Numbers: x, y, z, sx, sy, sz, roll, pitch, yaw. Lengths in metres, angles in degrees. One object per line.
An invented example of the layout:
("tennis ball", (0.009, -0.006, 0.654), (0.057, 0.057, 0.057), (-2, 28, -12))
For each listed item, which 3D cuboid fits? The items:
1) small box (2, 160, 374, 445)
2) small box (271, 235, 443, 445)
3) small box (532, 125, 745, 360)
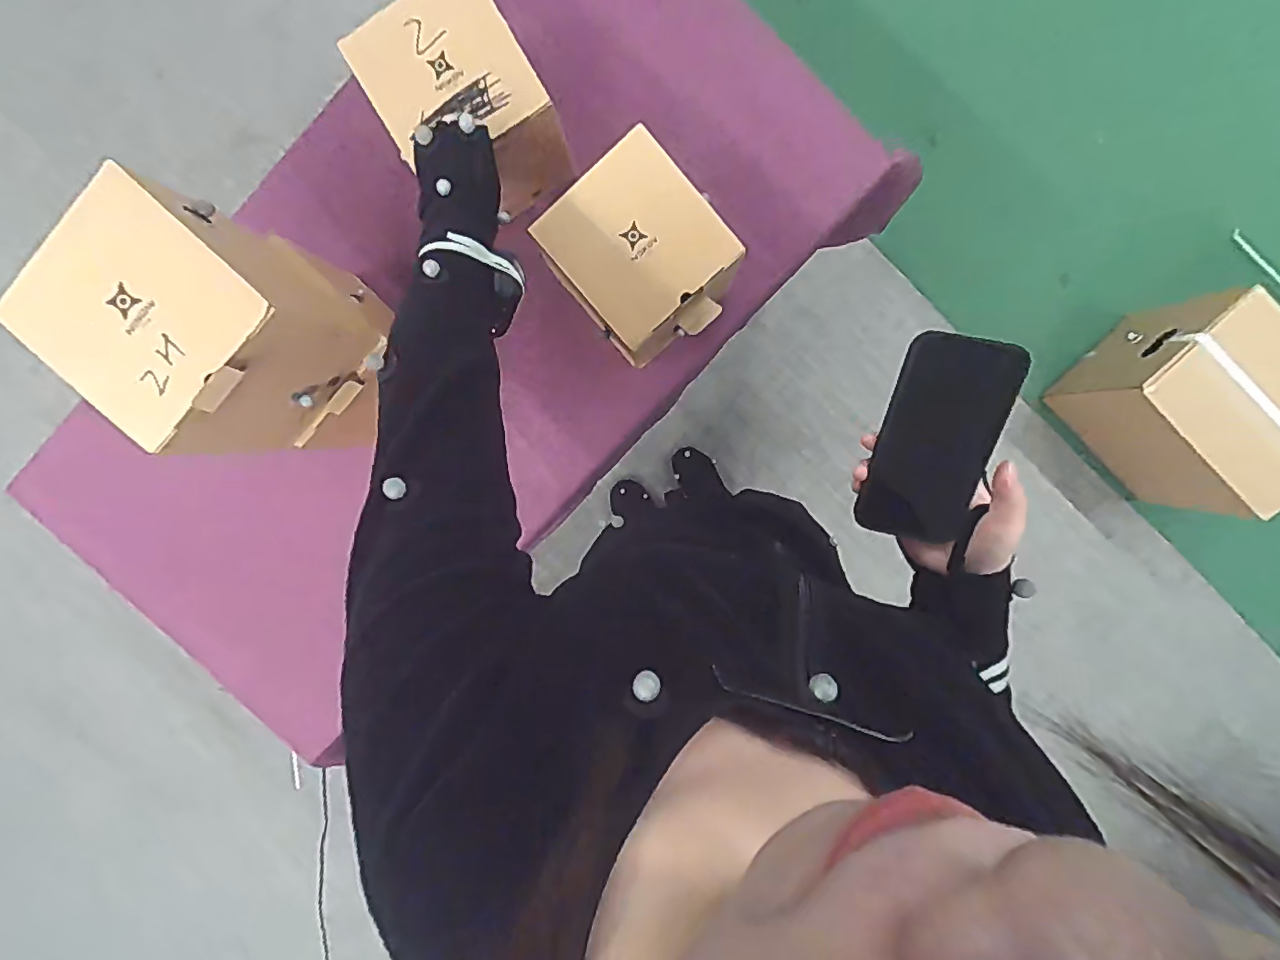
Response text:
("small box", (-0.408, -0.149, 0.522), (0.179, 0.176, 0.168), (43, 95, -2))
("small box", (-0.388, -0.164, 0.685), (0.179, 0.176, 0.168), (44, 95, -2))
("small box", (0.000, -0.268, 0.659), (0.168, 0.176, 0.179), (-41, 93, 5))
